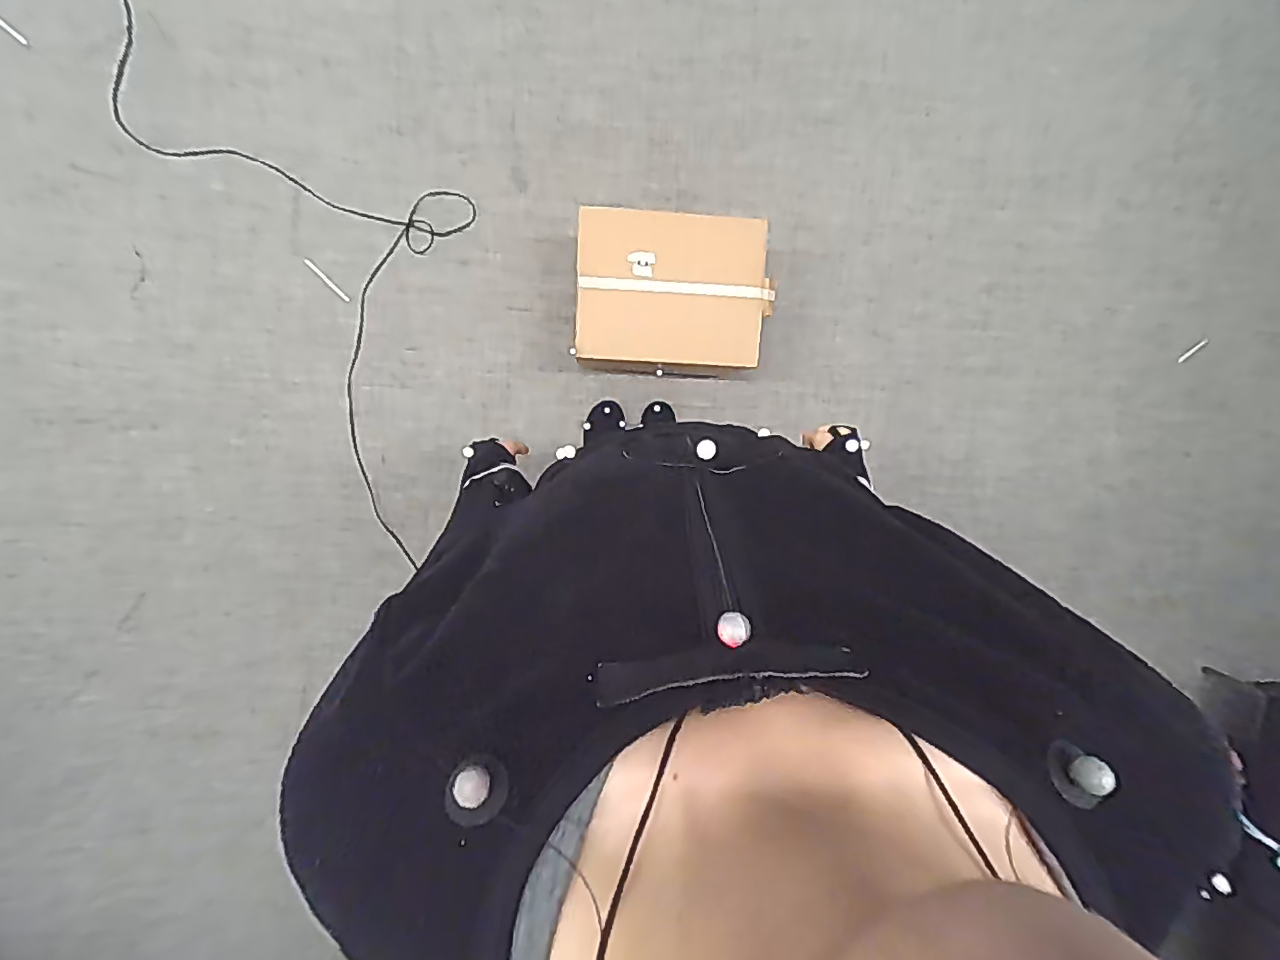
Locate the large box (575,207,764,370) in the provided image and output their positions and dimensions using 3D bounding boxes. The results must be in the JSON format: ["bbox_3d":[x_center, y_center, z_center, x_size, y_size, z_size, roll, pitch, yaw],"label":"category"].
[{"bbox_3d":[0.057,-0.437,1.312,0.408,0.320,0.320,3,97,-4],"label":"large box"}]
